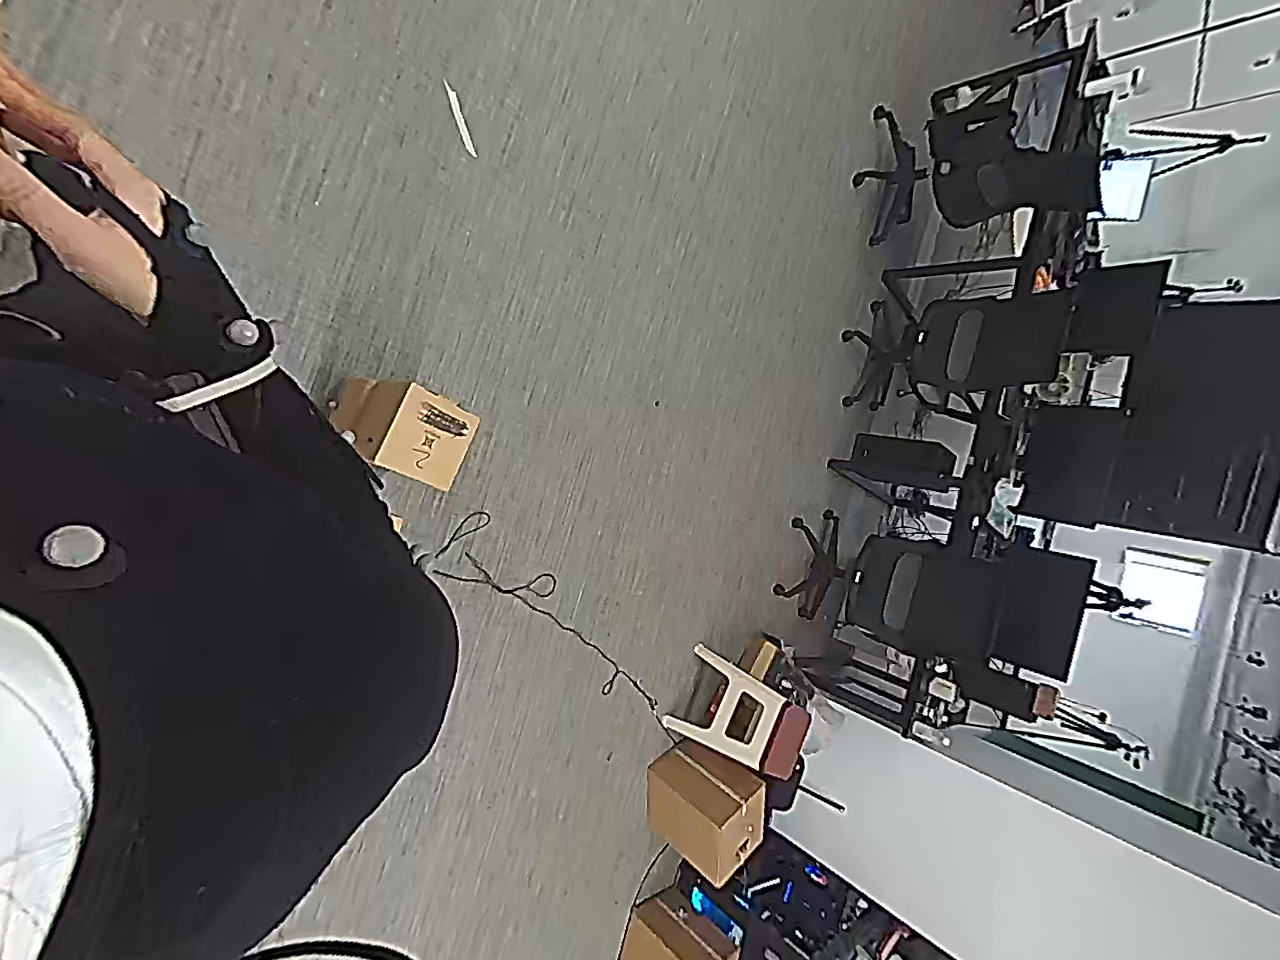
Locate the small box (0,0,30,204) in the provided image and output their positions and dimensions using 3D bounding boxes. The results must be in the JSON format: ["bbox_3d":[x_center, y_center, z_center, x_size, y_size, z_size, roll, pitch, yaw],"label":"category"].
[{"bbox_3d":[-0.395,-0.238,0.230,0.168,0.176,0.179,-7,117,-45],"label":"small box"}]

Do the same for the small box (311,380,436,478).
[{"bbox_3d":[-0.610,-0.120,1.238,0.179,0.176,0.168,31,76,-44],"label":"small box"}]
